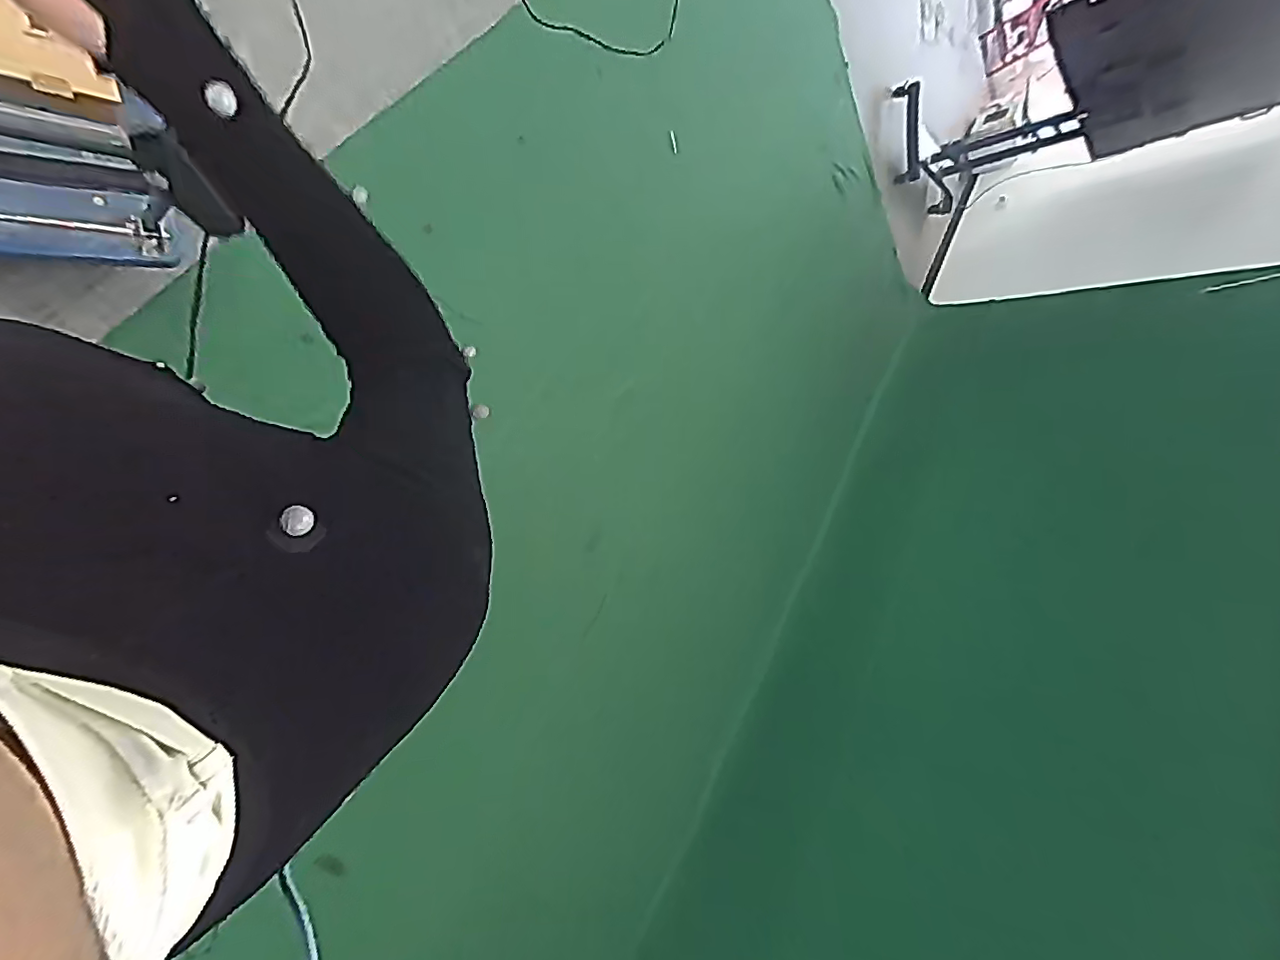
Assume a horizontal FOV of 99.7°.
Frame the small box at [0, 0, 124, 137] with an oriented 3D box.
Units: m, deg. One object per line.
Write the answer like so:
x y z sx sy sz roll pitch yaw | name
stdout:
-1.004 -0.718 0.909 0.168 0.176 0.179 -14 106 -44 | small box
